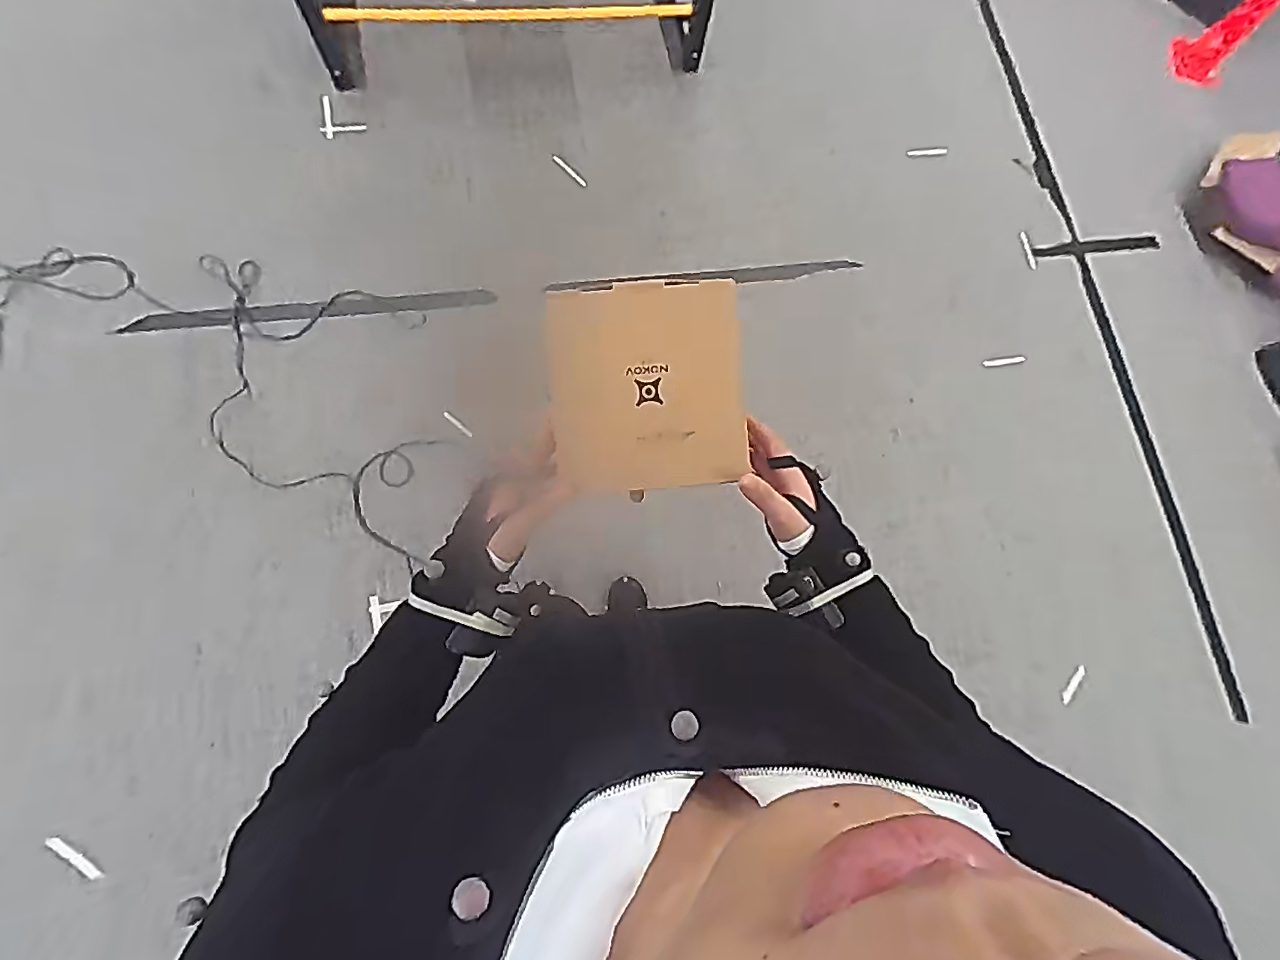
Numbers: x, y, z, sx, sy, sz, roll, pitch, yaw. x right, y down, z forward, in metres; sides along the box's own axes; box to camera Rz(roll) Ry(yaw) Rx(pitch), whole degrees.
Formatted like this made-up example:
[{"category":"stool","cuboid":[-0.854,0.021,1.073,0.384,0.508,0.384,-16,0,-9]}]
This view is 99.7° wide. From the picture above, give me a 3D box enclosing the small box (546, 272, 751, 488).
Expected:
[{"category":"small box","cuboid":[0.003,-0.086,0.536,0.168,0.176,0.179,-5,91,-2]}]
